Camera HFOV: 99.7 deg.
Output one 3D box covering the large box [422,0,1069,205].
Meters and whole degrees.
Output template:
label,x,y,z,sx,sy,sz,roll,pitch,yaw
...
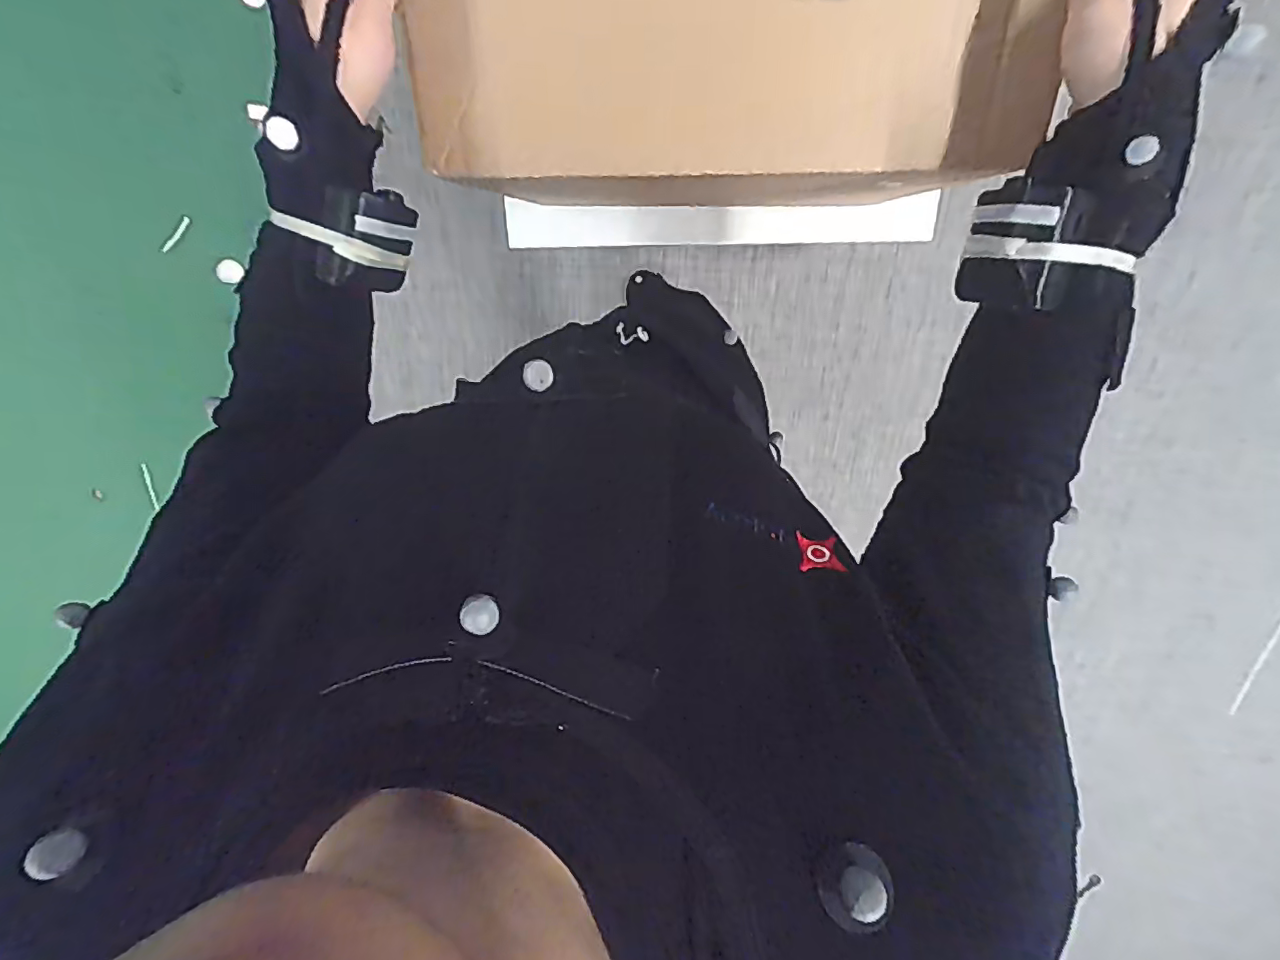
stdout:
label,x,y,z,sx,sy,sz,roll,pitch,yaw
large box,0.066,-0.414,0.442,0.408,0.320,0.320,1,114,4
